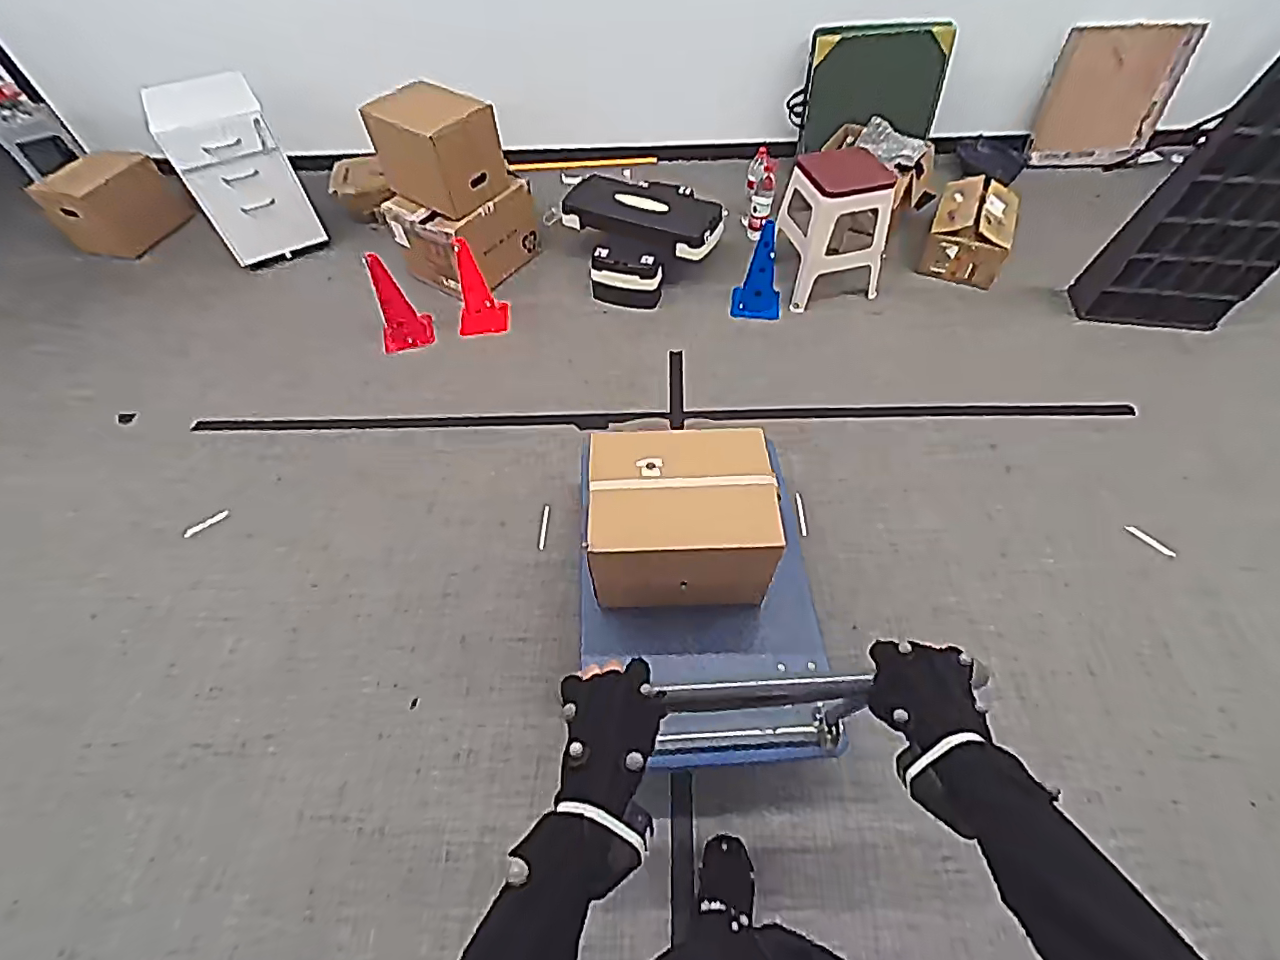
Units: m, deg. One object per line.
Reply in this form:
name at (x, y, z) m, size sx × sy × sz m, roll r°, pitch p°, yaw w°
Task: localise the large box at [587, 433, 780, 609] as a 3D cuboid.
large box at (0.092, 0.109, 1.309) m, size 0.408 × 0.320 × 0.320 m, roll -2°, pitch 55°, yaw 1°
